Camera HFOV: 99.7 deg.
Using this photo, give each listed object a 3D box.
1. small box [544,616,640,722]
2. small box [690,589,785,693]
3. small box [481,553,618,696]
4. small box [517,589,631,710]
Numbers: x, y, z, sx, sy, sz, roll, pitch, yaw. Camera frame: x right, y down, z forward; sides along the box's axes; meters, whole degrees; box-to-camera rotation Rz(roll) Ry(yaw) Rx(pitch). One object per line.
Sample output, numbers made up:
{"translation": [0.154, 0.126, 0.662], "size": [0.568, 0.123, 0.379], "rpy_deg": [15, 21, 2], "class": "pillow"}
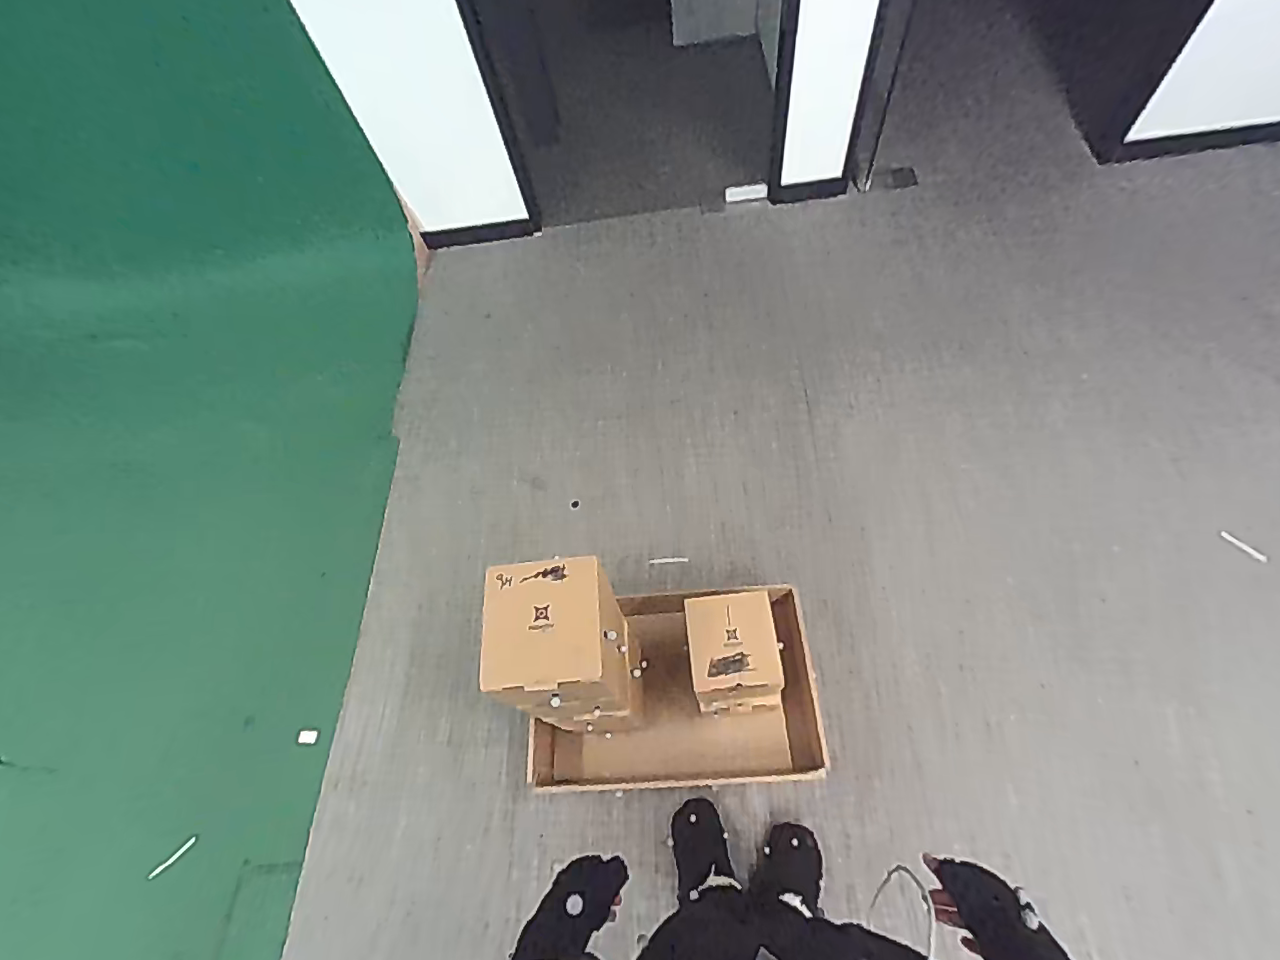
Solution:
{"translation": [-0.090, 0.385, 1.092], "size": [0.168, 0.176, 0.179], "rpy_deg": [-5, 62, 4], "class": "small box"}
{"translation": [0.189, 0.327, 1.076], "size": [0.168, 0.176, 0.179], "rpy_deg": [-4, 62, 5], "class": "small box"}
{"translation": [-0.126, 0.224, 0.809], "size": [0.168, 0.176, 0.179], "rpy_deg": [-6, 62, 2], "class": "small box"}
{"translation": [-0.109, 0.303, 0.951], "size": [0.168, 0.176, 0.179], "rpy_deg": [-6, 61, 3], "class": "small box"}
